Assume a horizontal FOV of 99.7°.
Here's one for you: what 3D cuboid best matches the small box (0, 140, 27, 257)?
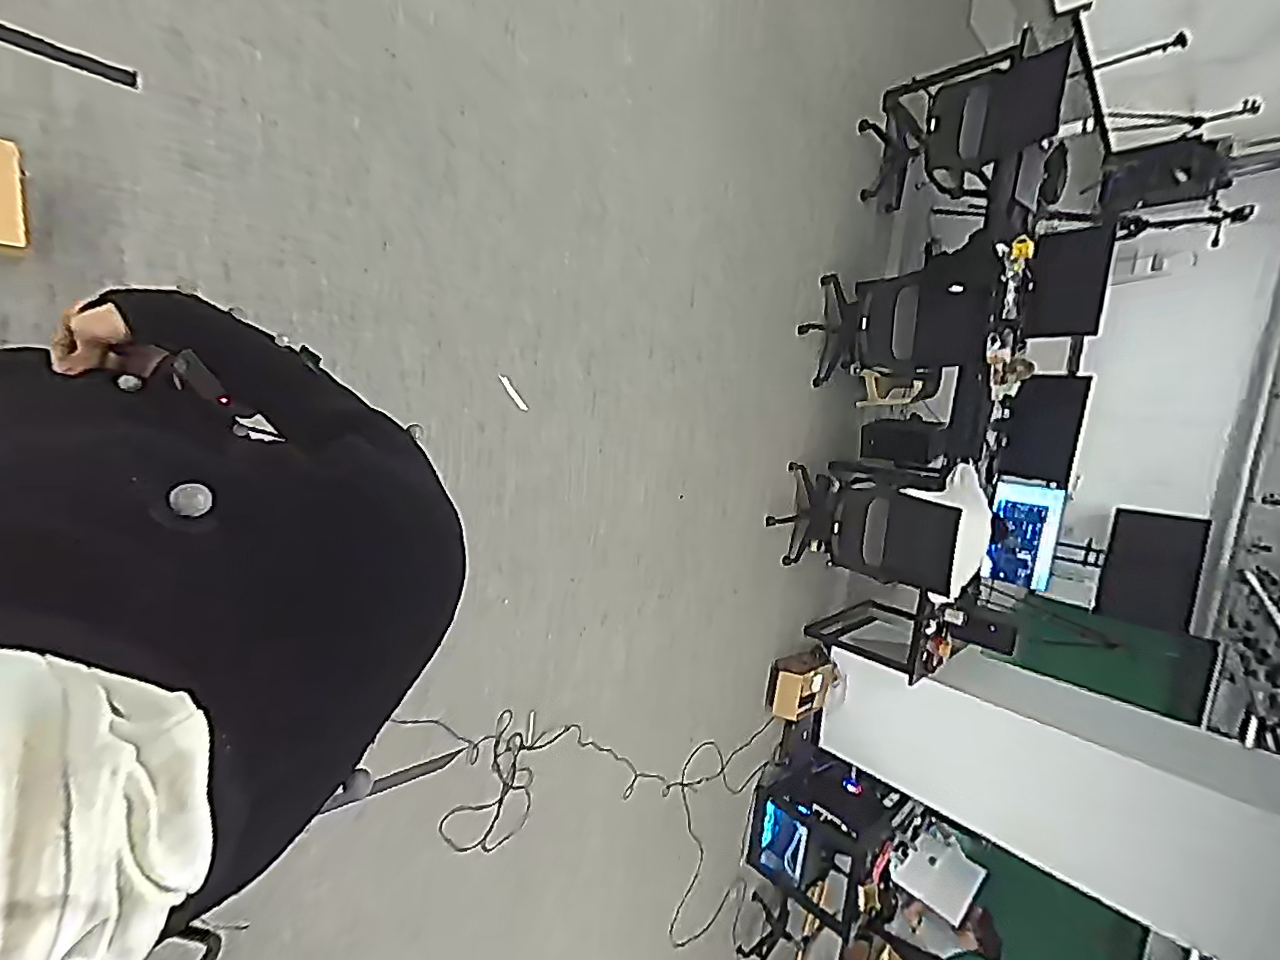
[{"bbox_3d":[-1.199,-0.500,0.936,0.168,0.176,0.179,-5,101,-44],"label":"small box"}]
